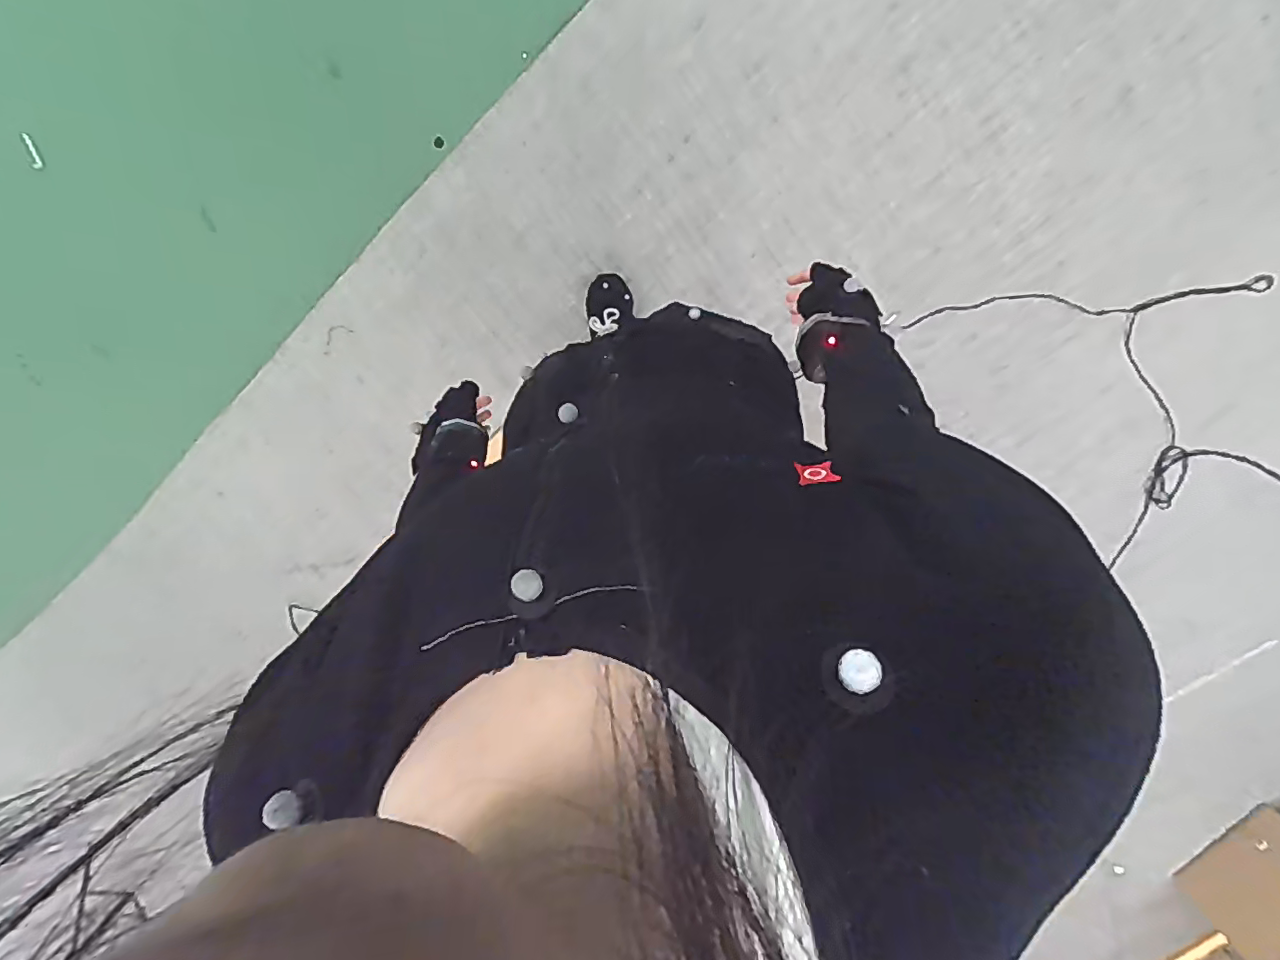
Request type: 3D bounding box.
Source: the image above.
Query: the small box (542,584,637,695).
[{"bbox_3d":[-0.121,0.406,1.393,0.179,0.176,0.168,-39,104,13],"label":"small box"}]
